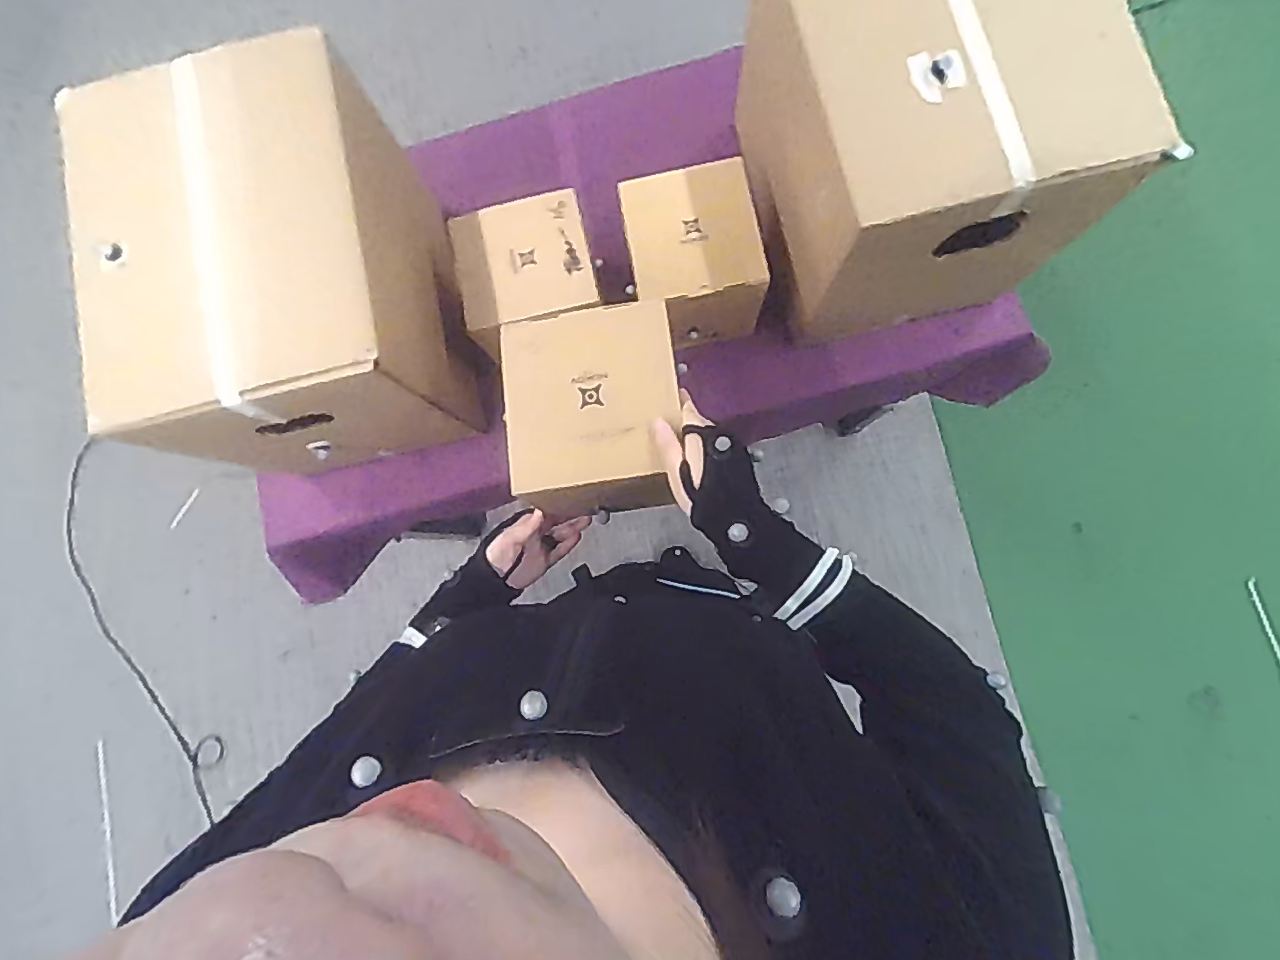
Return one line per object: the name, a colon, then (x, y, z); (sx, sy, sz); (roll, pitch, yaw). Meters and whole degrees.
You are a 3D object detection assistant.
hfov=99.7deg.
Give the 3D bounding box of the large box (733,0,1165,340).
large box: (0.335, -0.453, 0.709); (0.320, 0.320, 0.408); (-12, 83, 2)
